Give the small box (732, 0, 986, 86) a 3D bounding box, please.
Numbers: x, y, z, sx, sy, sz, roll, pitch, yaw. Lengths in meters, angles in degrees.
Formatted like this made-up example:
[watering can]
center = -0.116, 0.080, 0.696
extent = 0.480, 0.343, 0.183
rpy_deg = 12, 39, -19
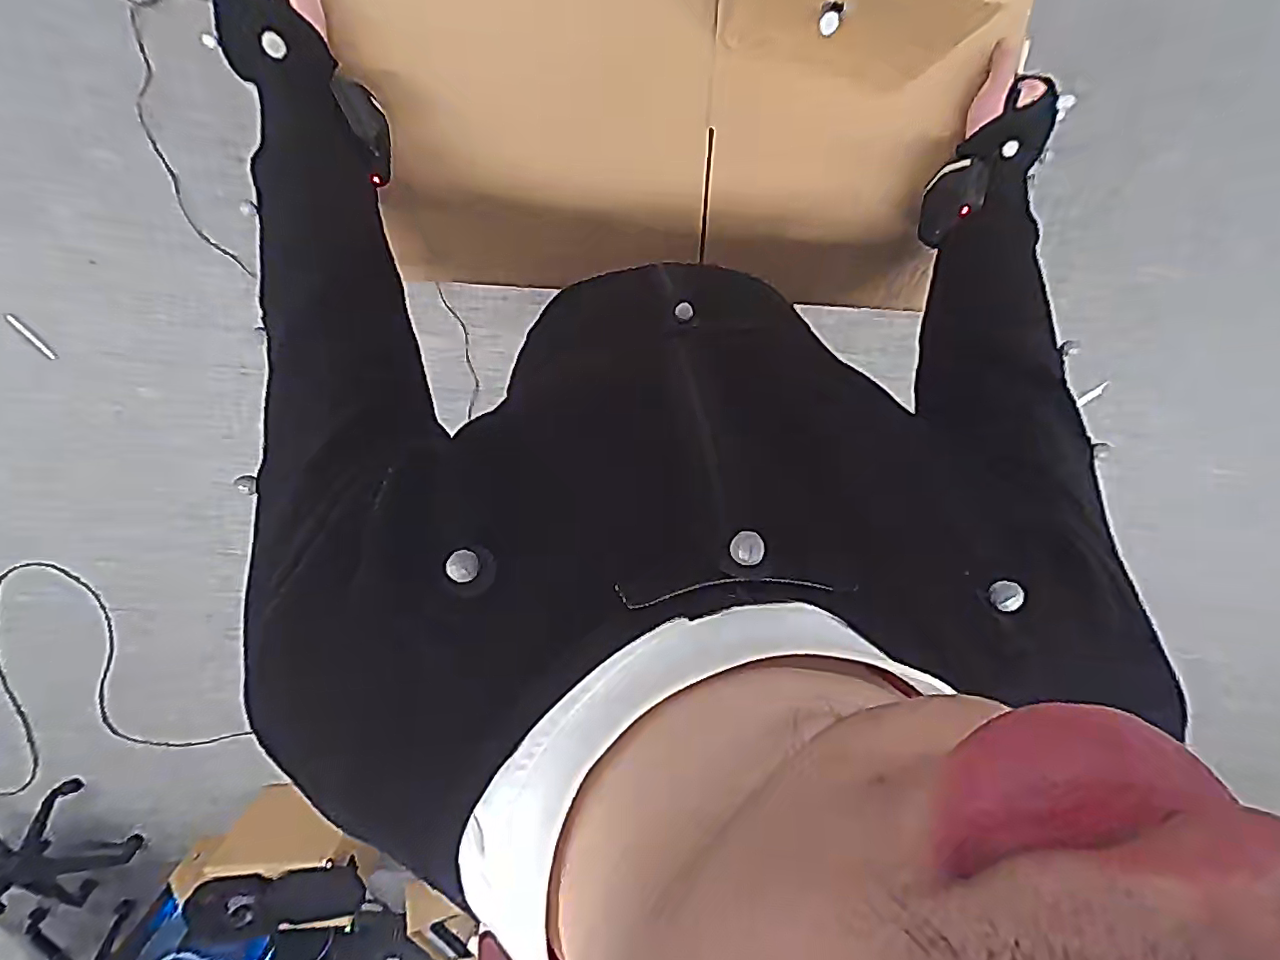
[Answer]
[small box]
center = 0.185, -0.452, 0.426
extent = 0.179, 0.176, 0.168
rpy_deg = 13, 106, -6
